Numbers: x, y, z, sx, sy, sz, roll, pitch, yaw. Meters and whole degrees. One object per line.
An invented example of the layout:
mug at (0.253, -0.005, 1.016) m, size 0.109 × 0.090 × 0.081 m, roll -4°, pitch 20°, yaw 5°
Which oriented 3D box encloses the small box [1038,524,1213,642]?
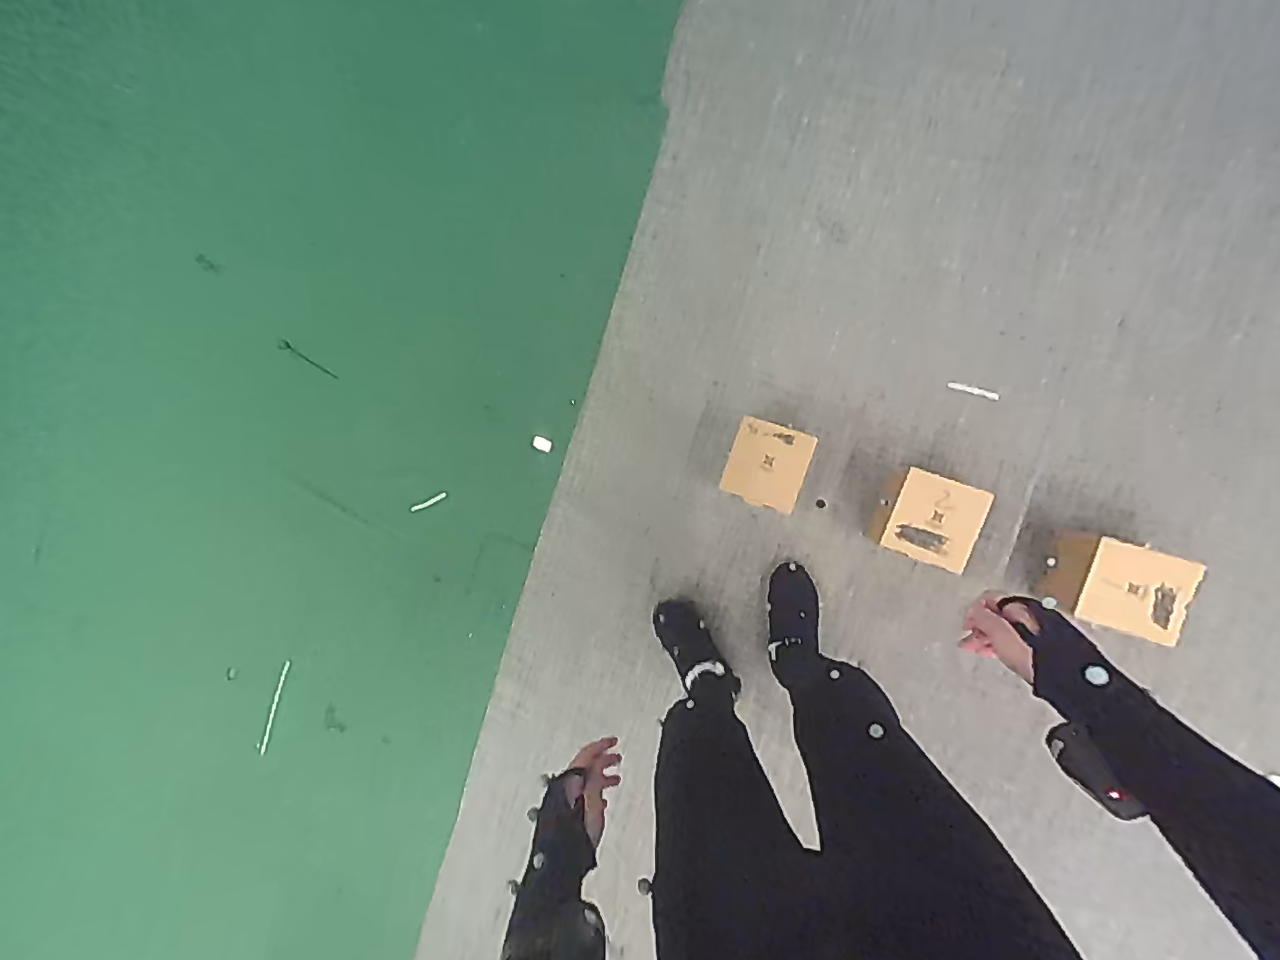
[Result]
small box at (0.950, 0.193, 1.077) m, size 0.179 × 0.176 × 0.168 m, roll 18°, pitch 95°, yaw 13°

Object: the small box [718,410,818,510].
small box at (0.290, -0.045, 1.226) m, size 0.168 × 0.176 × 0.179 m, roll 20°, pitch 96°, yaw 12°
